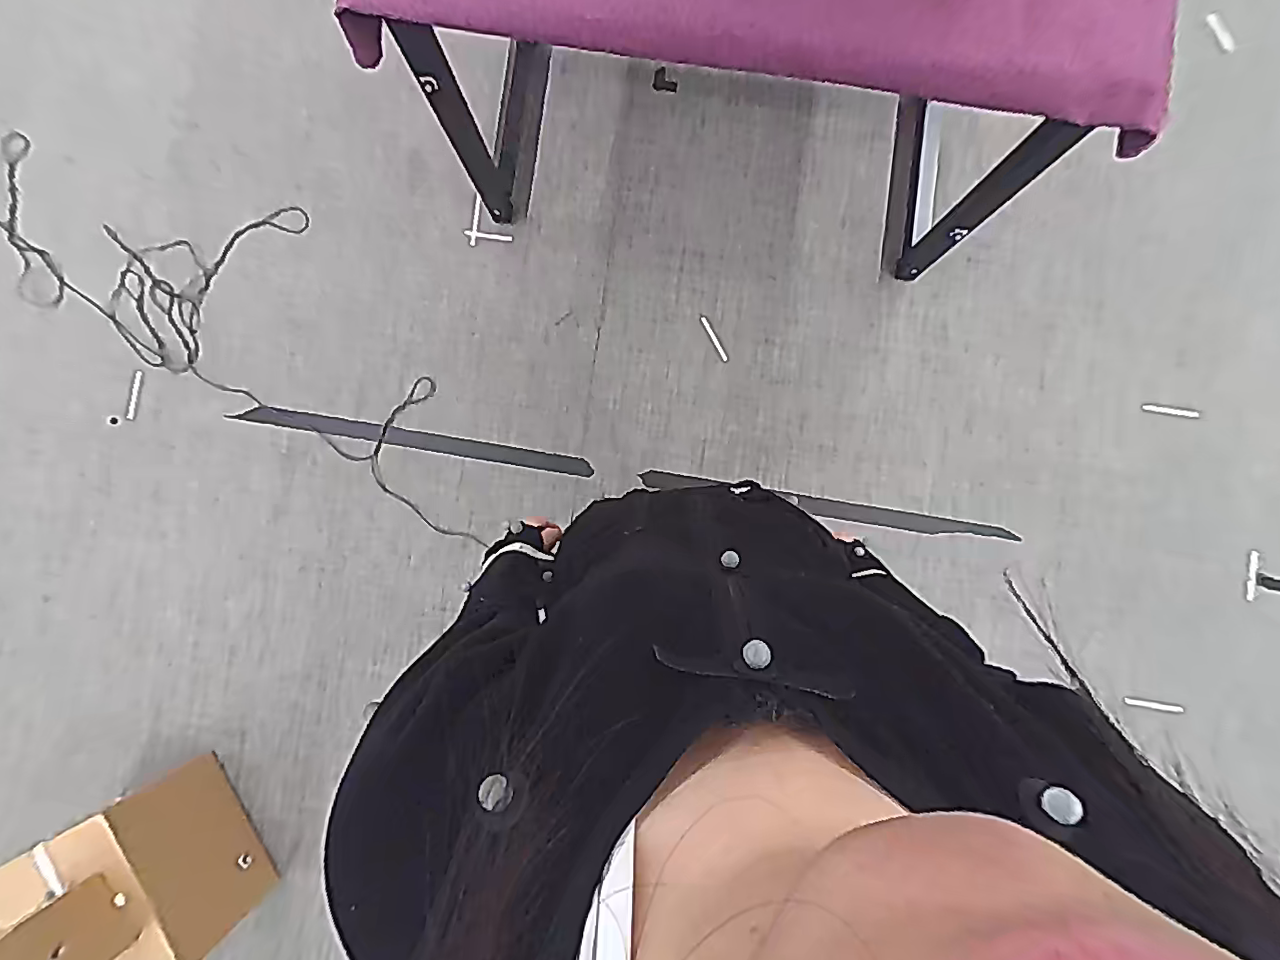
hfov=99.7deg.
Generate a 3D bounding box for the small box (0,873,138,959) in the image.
[{"bbox_3d":[-1.188,0.958,1.091,0.168,0.176,0.179,-32,86,-2],"label":"small box"}]
